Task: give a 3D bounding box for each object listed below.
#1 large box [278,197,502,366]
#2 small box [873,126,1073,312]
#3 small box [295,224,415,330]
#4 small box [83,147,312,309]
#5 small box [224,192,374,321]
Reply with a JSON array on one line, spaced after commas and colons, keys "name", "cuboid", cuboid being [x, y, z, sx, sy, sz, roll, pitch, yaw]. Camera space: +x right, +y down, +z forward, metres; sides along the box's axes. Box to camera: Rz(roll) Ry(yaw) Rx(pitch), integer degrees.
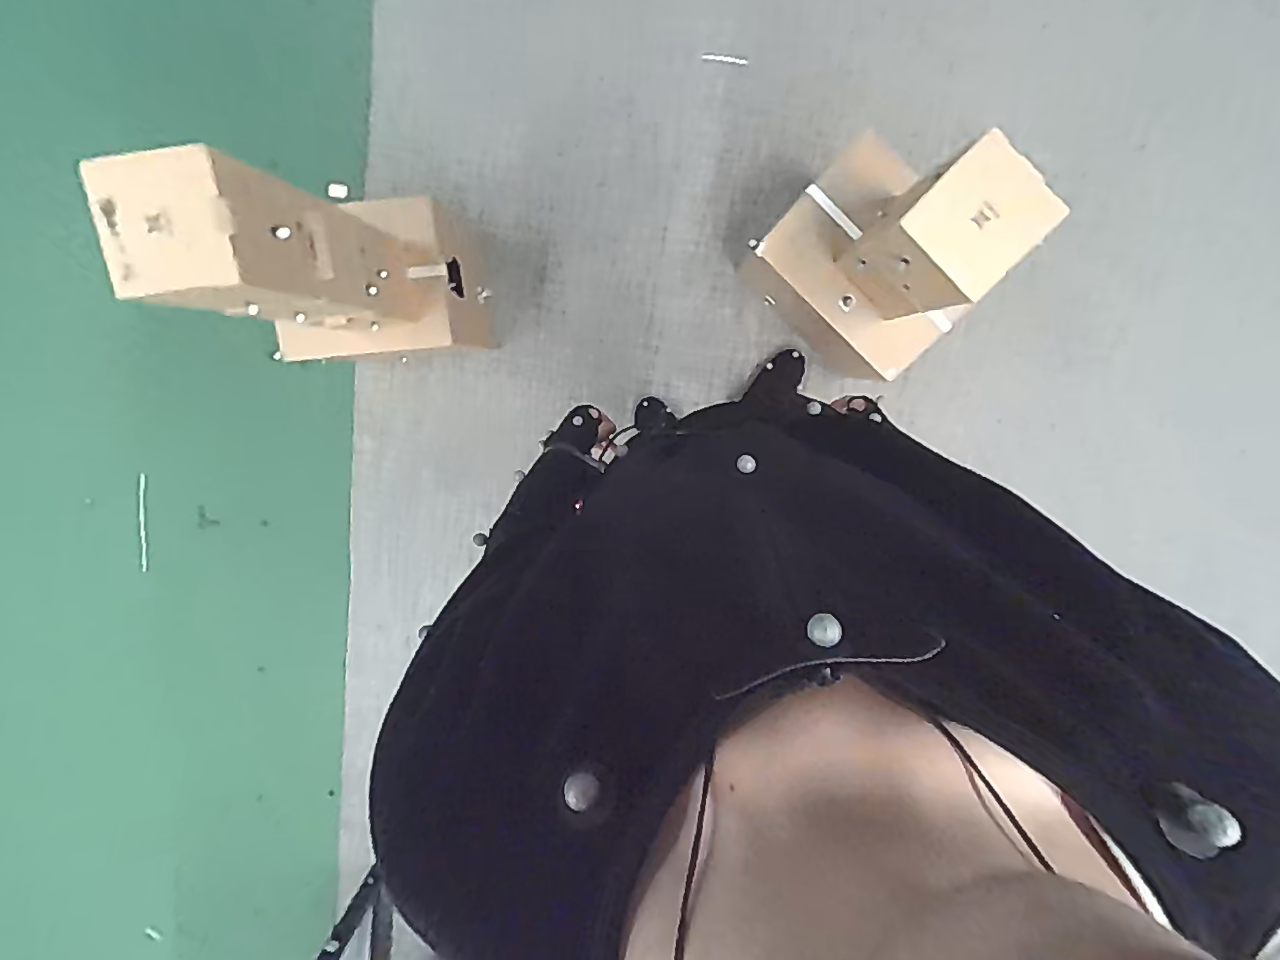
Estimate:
[{"name": "large box", "cuboid": [-0.598, -0.453, 1.319, 0.408, 0.320, 0.320, -4, 100, 6]}, {"name": "small box", "cuboid": [0.493, -0.385, 0.839, 0.168, 0.176, 0.179, 43, 99, -5]}, {"name": "small box", "cuboid": [-0.572, -0.397, 1.079, 0.168, 0.176, 0.179, -4, 101, 4]}, {"name": "small box", "cuboid": [-0.593, -0.339, 0.757, 0.179, 0.176, 0.168, -4, 101, 3]}, {"name": "small box", "cuboid": [-0.579, -0.369, 0.918, 0.179, 0.176, 0.168, -5, 101, 5]}]
